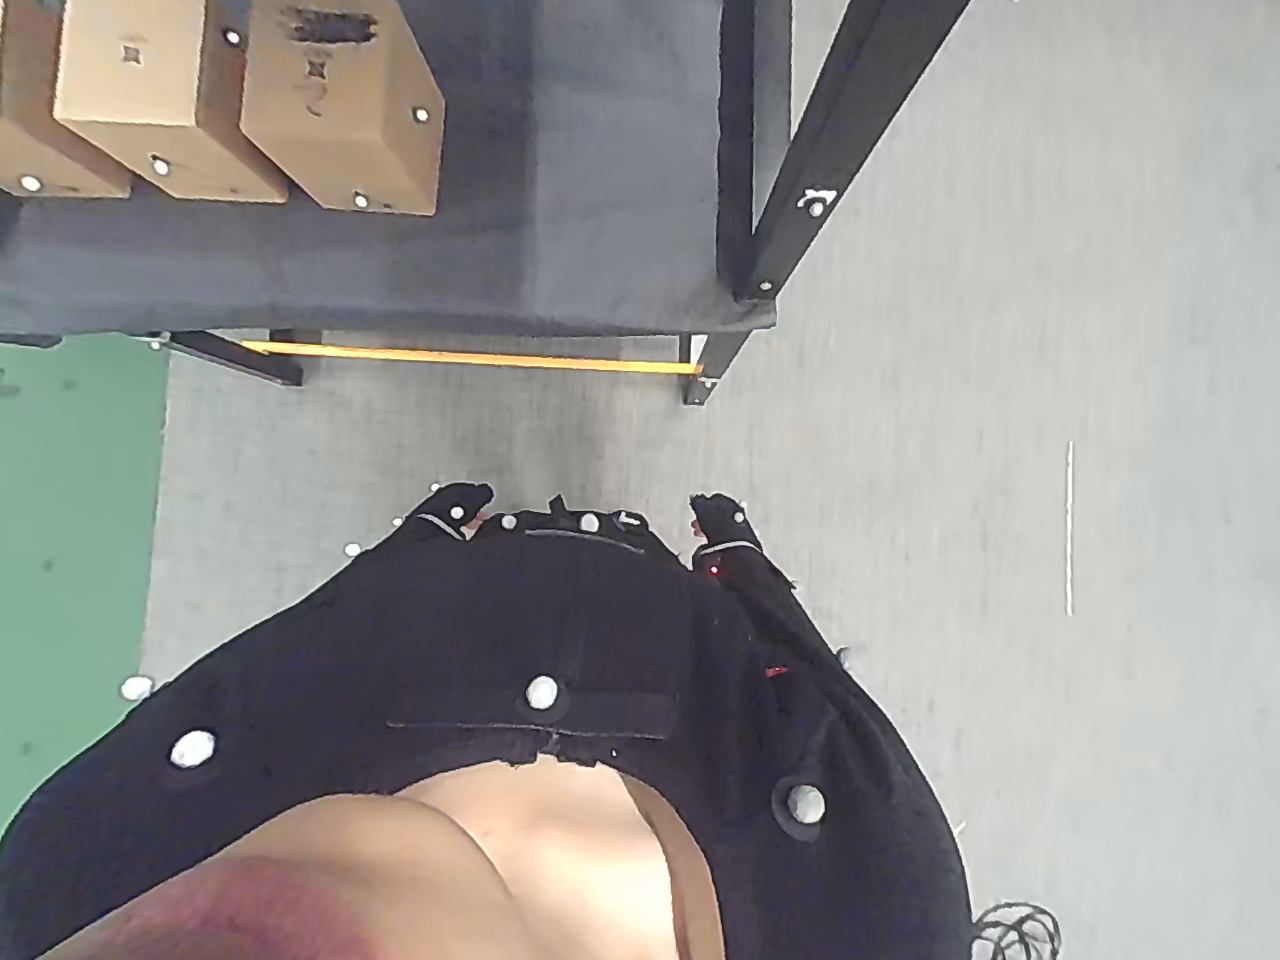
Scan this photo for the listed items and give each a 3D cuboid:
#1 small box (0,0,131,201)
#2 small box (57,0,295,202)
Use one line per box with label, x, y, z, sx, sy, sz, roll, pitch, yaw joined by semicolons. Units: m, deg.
small box;-0.811;-0.495;0.701;0.168;0.176;0.179;0;87;0
small box;-0.584;-0.489;0.704;0.168;0.176;0.179;3;86;0
